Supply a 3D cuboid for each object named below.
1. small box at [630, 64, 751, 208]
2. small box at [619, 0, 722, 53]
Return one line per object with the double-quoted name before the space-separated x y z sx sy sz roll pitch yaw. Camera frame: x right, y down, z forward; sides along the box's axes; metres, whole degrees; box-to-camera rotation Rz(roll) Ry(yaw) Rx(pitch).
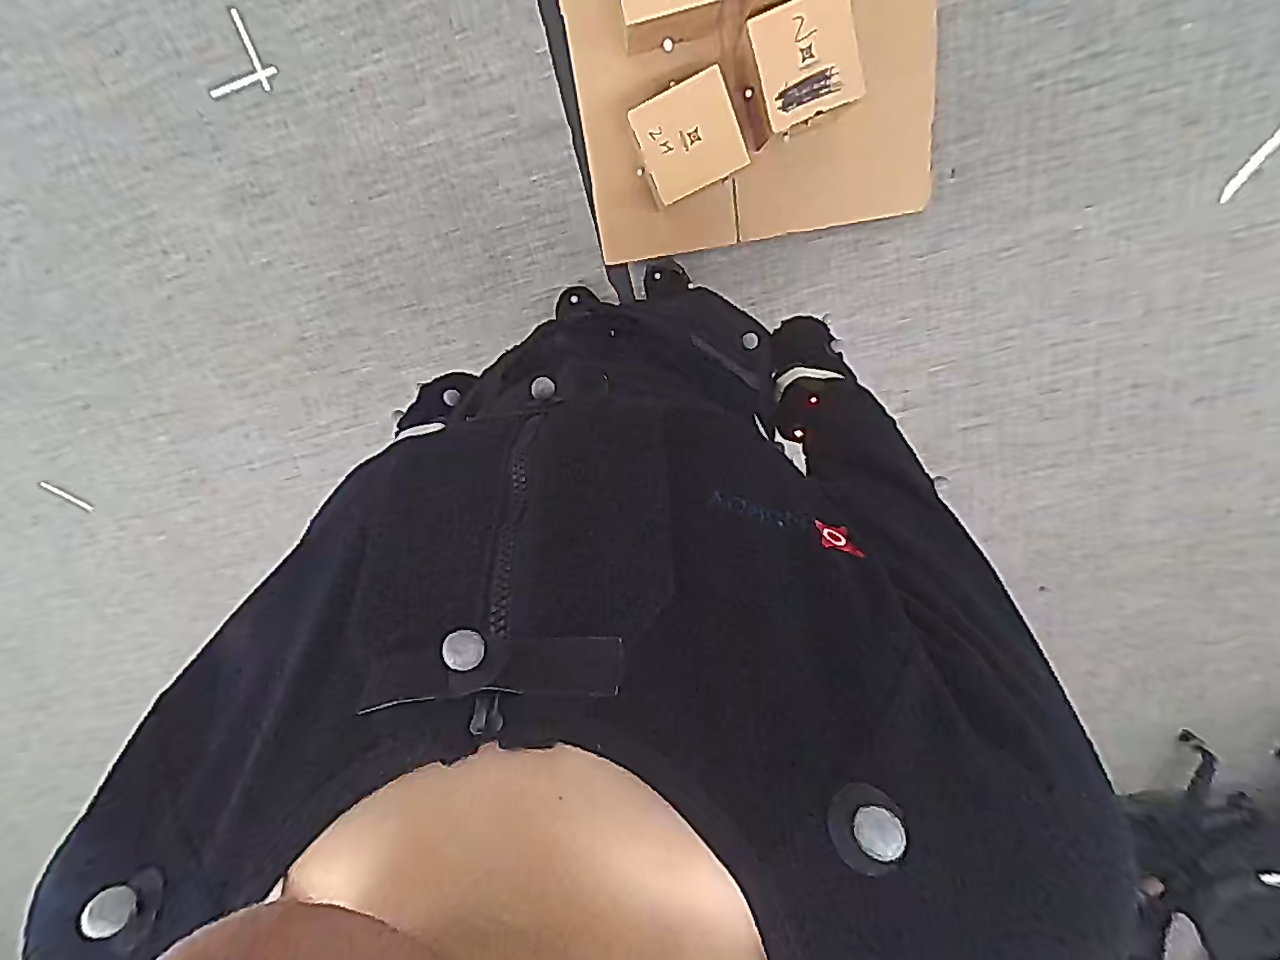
"small box" 0.091 -0.643 1.034 0.179 0.176 0.168 -22 110 10
"small box" 0.040 -0.885 0.933 0.168 0.176 0.179 -11 113 5
